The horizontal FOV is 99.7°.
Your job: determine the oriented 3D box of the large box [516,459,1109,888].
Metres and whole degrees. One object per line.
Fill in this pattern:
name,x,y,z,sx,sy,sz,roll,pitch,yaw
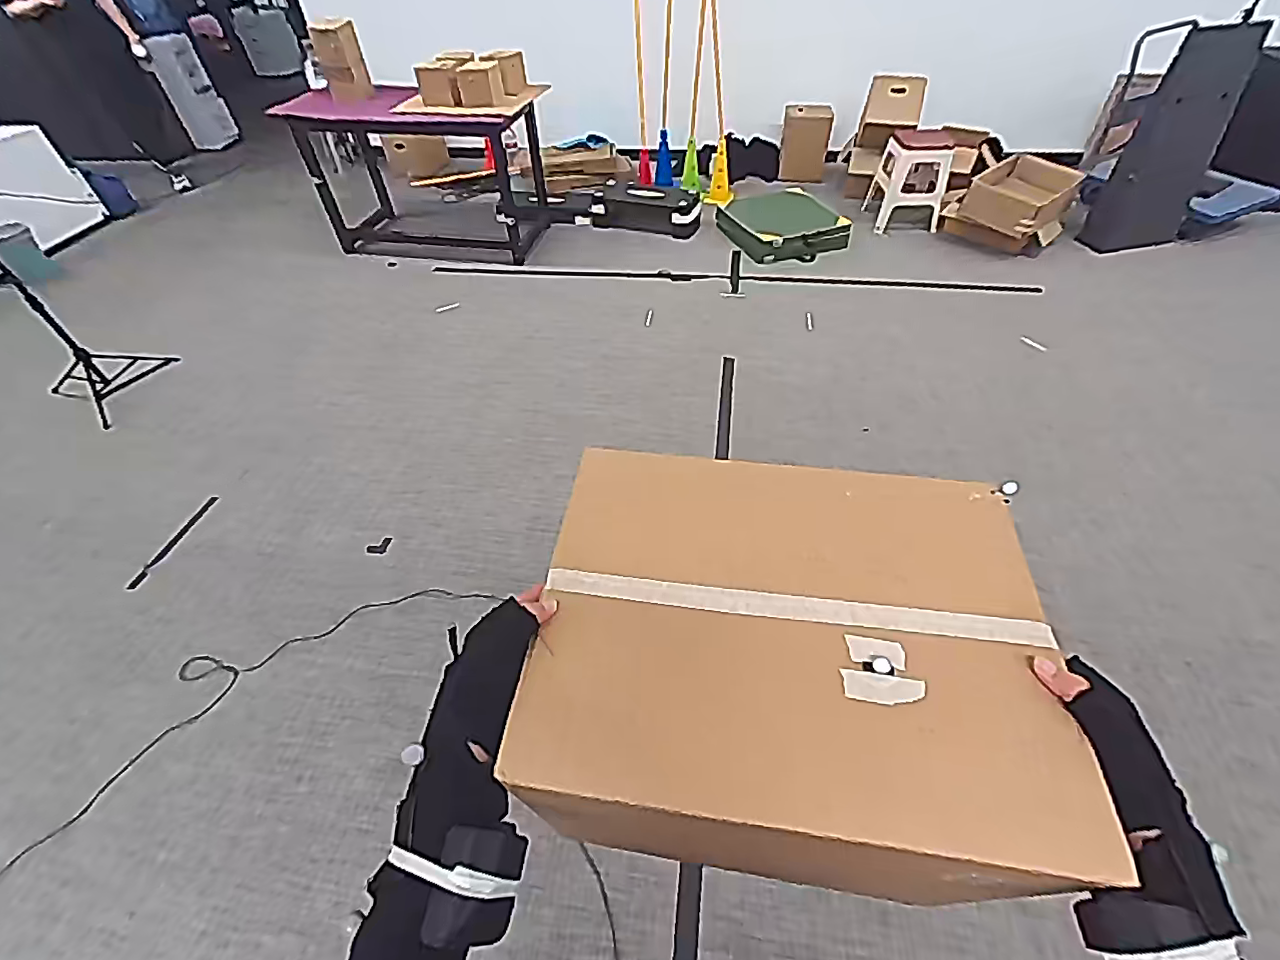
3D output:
large box,0.128,0.204,0.572,0.408,0.320,0.320,5,52,7
